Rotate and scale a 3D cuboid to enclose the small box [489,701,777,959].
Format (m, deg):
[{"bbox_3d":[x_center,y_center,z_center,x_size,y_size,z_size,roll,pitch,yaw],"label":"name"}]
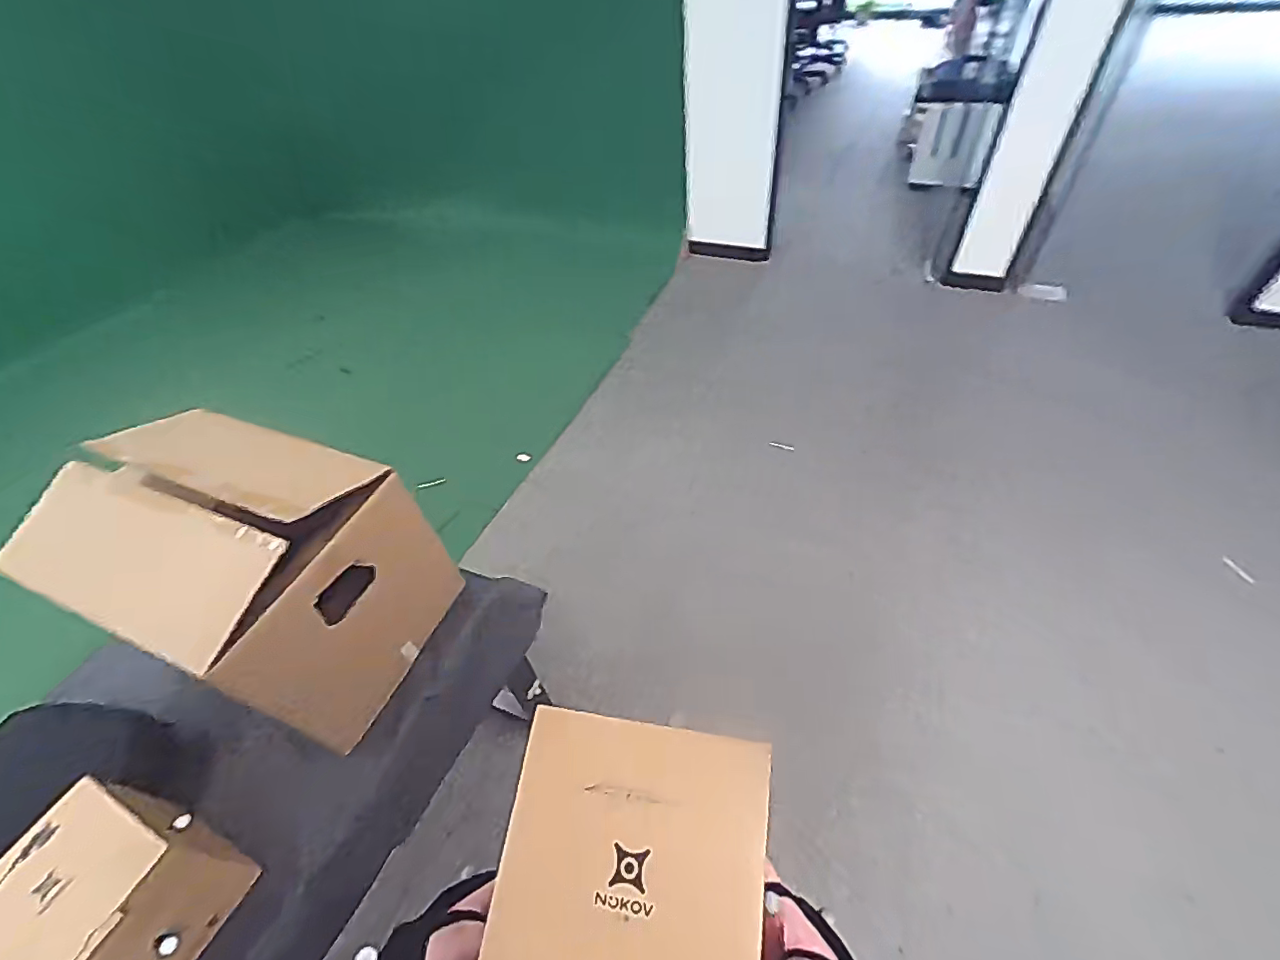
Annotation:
[{"bbox_3d":[0.006,0.282,0.413,0.168,0.176,0.179,7,63,8],"label":"small box"}]
